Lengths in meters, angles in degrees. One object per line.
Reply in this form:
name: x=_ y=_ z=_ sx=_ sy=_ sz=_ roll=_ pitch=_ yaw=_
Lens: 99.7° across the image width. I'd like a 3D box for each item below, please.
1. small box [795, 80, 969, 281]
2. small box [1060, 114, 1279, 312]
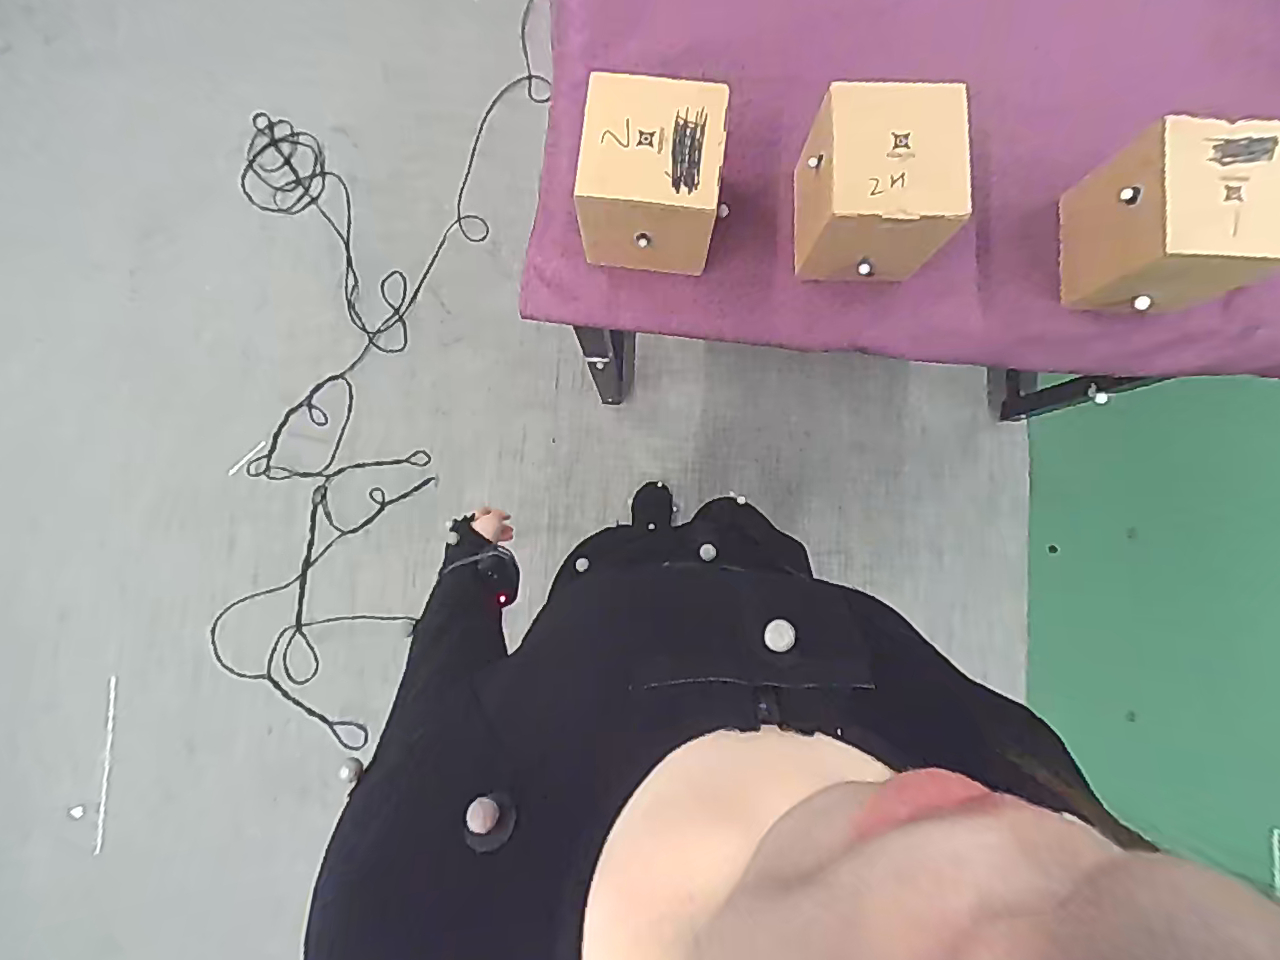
small box: x=0.313 y=-0.393 z=0.730 sx=0.168 sy=0.176 sz=0.179 roll=1 pitch=84 yaw=1
small box: x=0.705 y=-0.345 z=0.724 sx=0.168 sy=0.176 sz=0.179 roll=3 pitch=86 yaw=1
